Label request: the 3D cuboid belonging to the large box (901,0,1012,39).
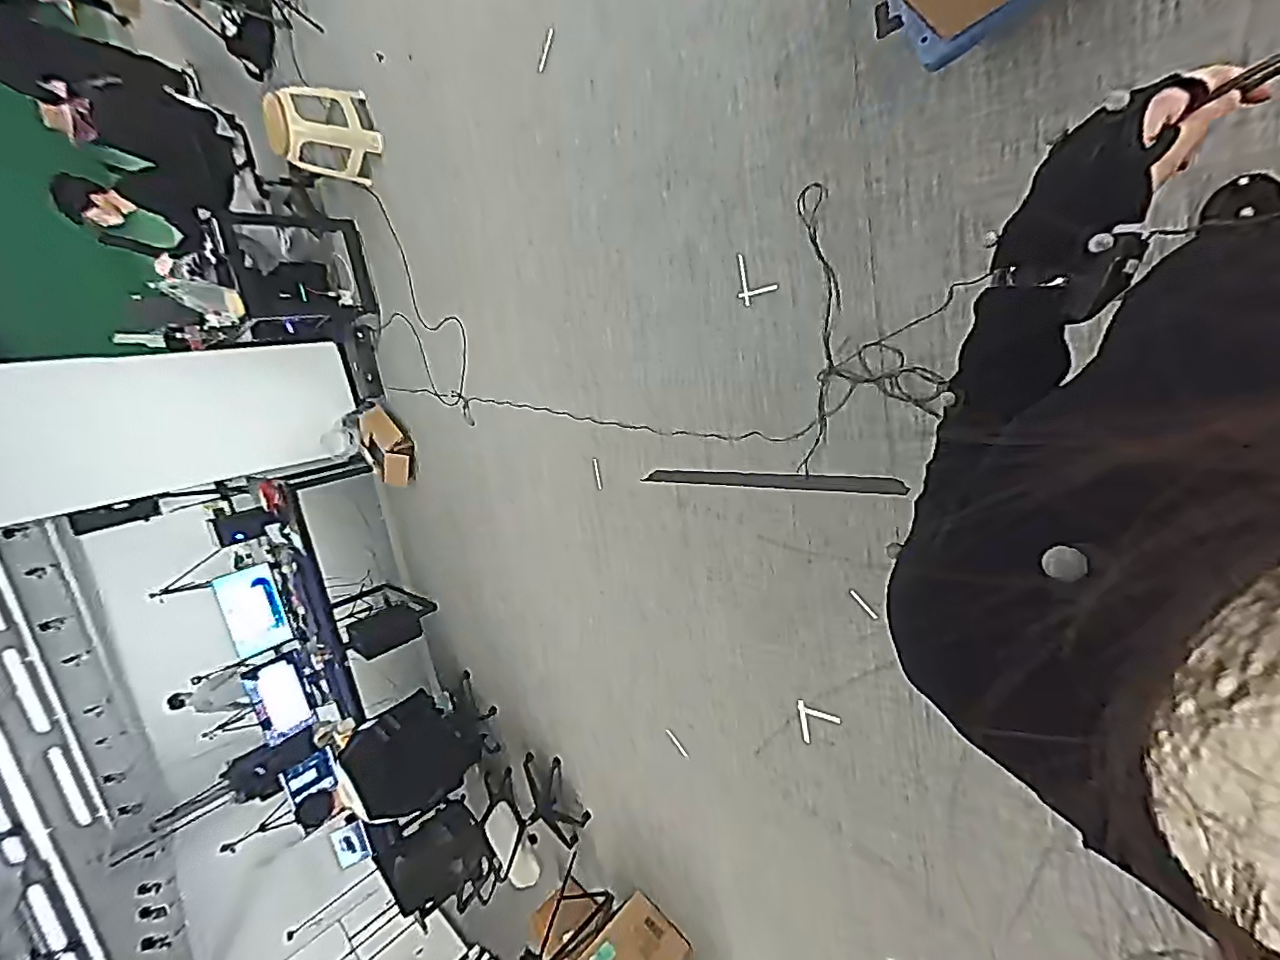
[{"bbox_3d":[0.579,-0.963,0.773,0.408,0.320,0.320,-9,98,47],"label":"large box"}]
